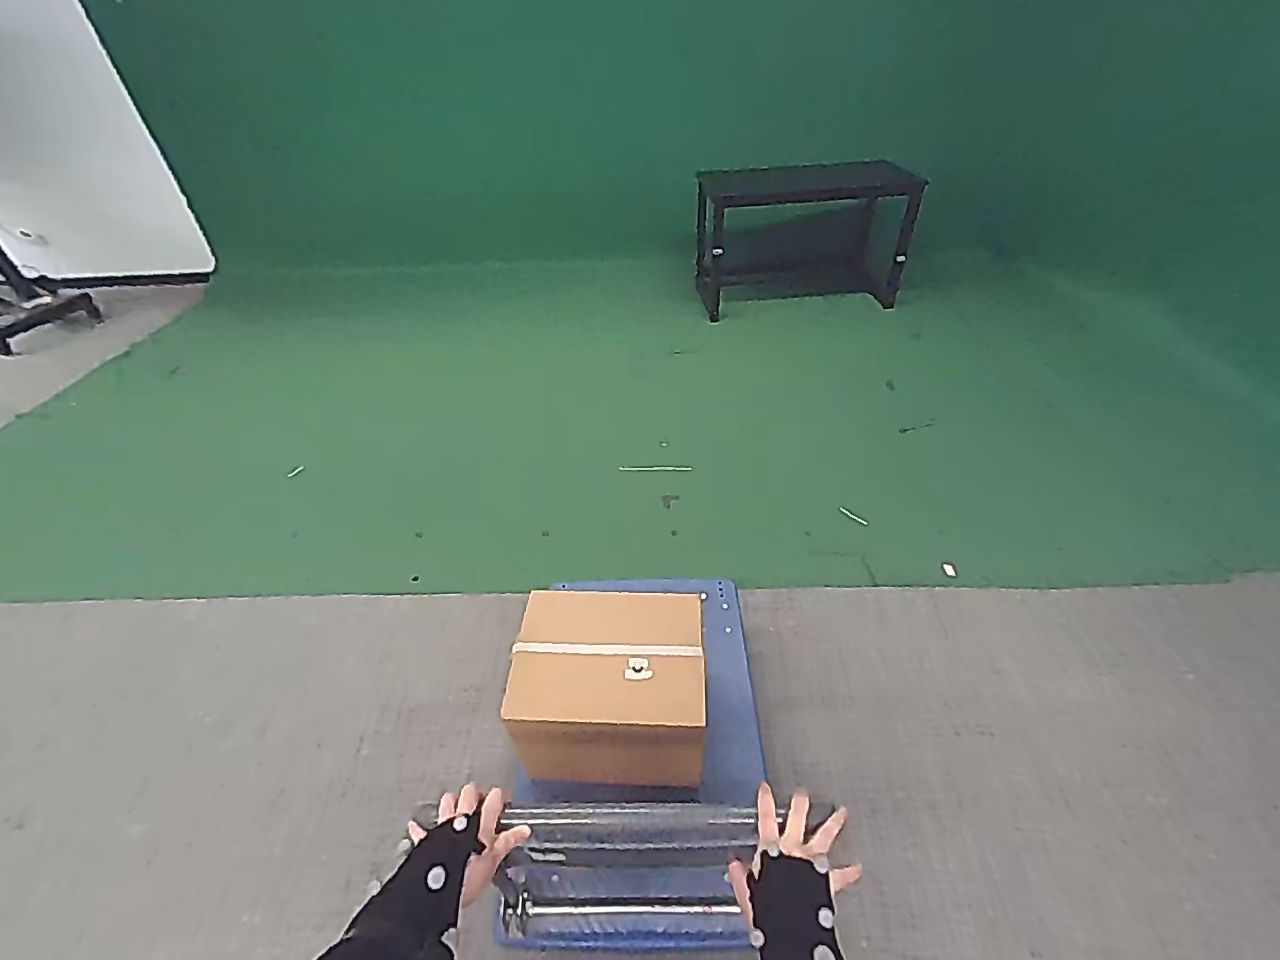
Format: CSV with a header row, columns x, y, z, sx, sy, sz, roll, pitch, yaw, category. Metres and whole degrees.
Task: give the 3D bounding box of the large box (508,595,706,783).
x,y,z,sx,sy,sz,roll,pitch,yaw,category
-0.063,0.491,1.276,0.408,0.320,0.320,1,41,2,large box
